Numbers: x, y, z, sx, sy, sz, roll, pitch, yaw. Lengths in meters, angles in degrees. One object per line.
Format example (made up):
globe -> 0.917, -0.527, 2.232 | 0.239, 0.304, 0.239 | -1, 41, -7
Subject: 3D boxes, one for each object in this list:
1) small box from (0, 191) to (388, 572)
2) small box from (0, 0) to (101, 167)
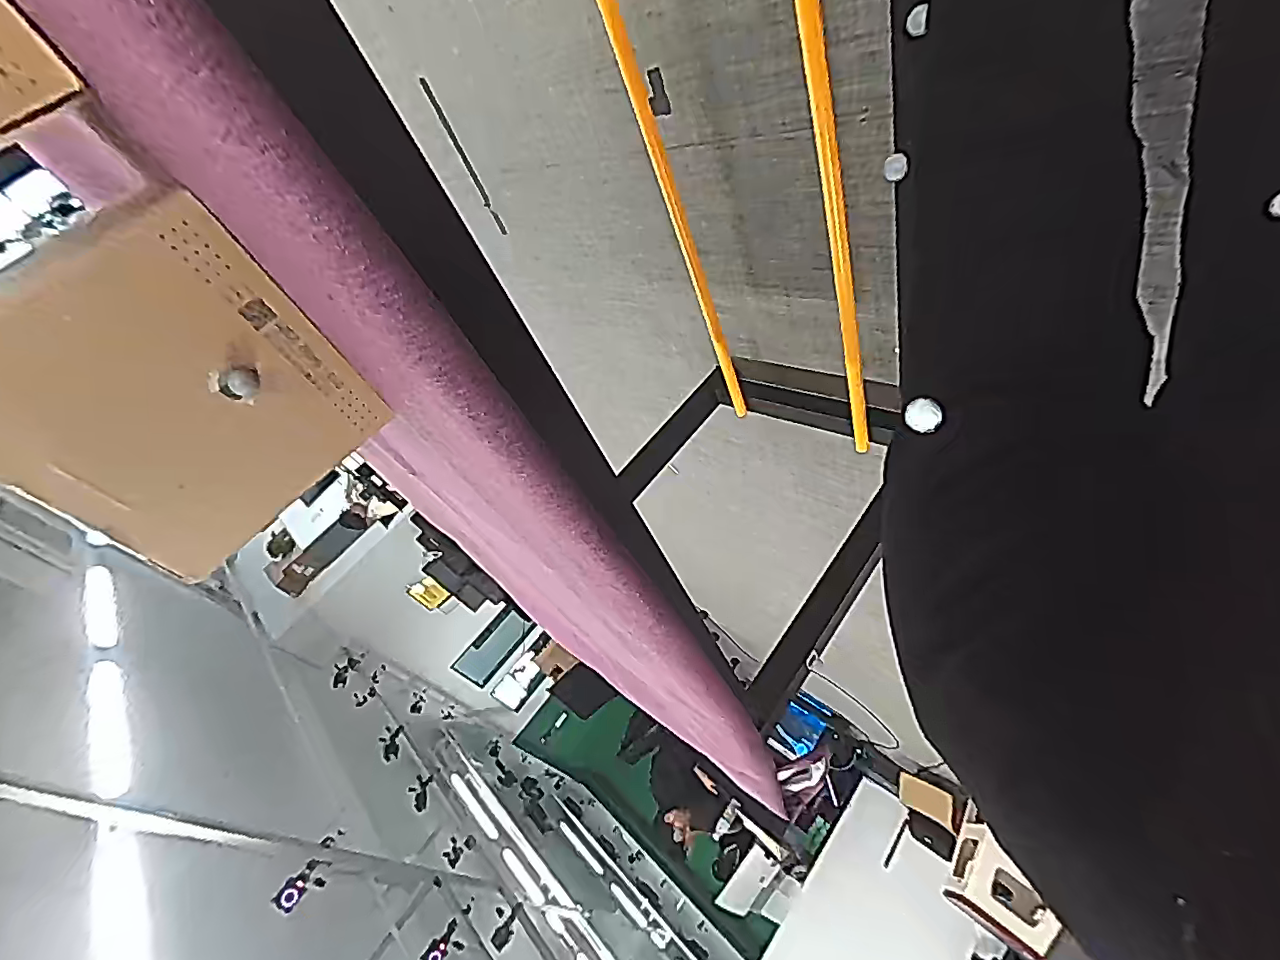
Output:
small box -> -0.314, -0.076, 0.374 | 0.179, 0.176, 0.168 | 27, 157, 38
small box -> -0.392, -0.209, 0.230 | 0.179, 0.176, 0.168 | 28, 158, 38
